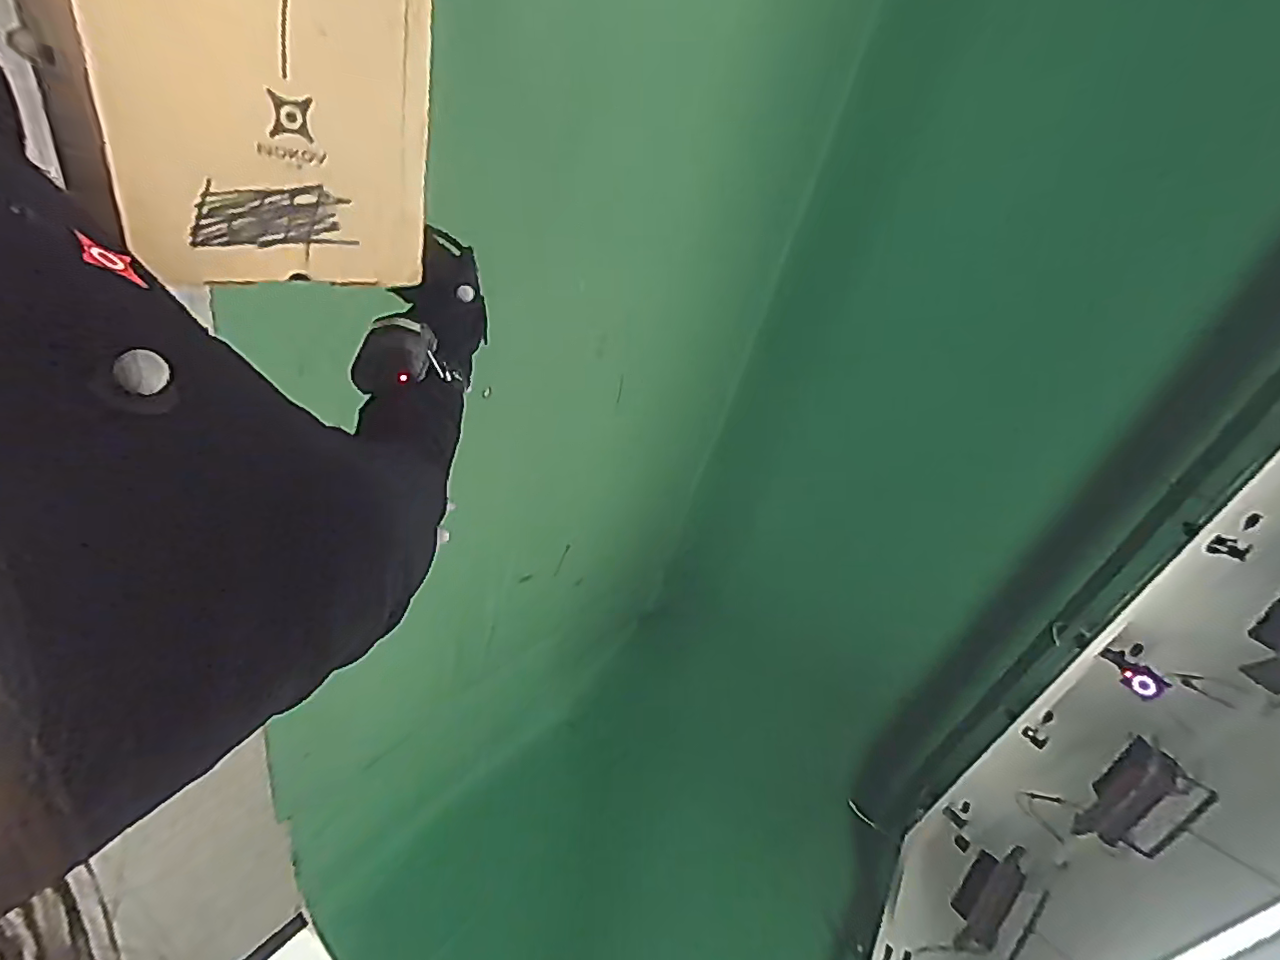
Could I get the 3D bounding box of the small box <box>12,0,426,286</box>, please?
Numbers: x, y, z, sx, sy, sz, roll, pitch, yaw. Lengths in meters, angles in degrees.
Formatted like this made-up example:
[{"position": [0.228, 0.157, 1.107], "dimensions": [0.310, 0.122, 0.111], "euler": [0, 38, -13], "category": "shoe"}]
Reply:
[{"position": [-0.262, -0.242, 0.348], "dimensions": [0.168, 0.176, 0.179], "euler": [-22, 139, -46], "category": "small box"}]
